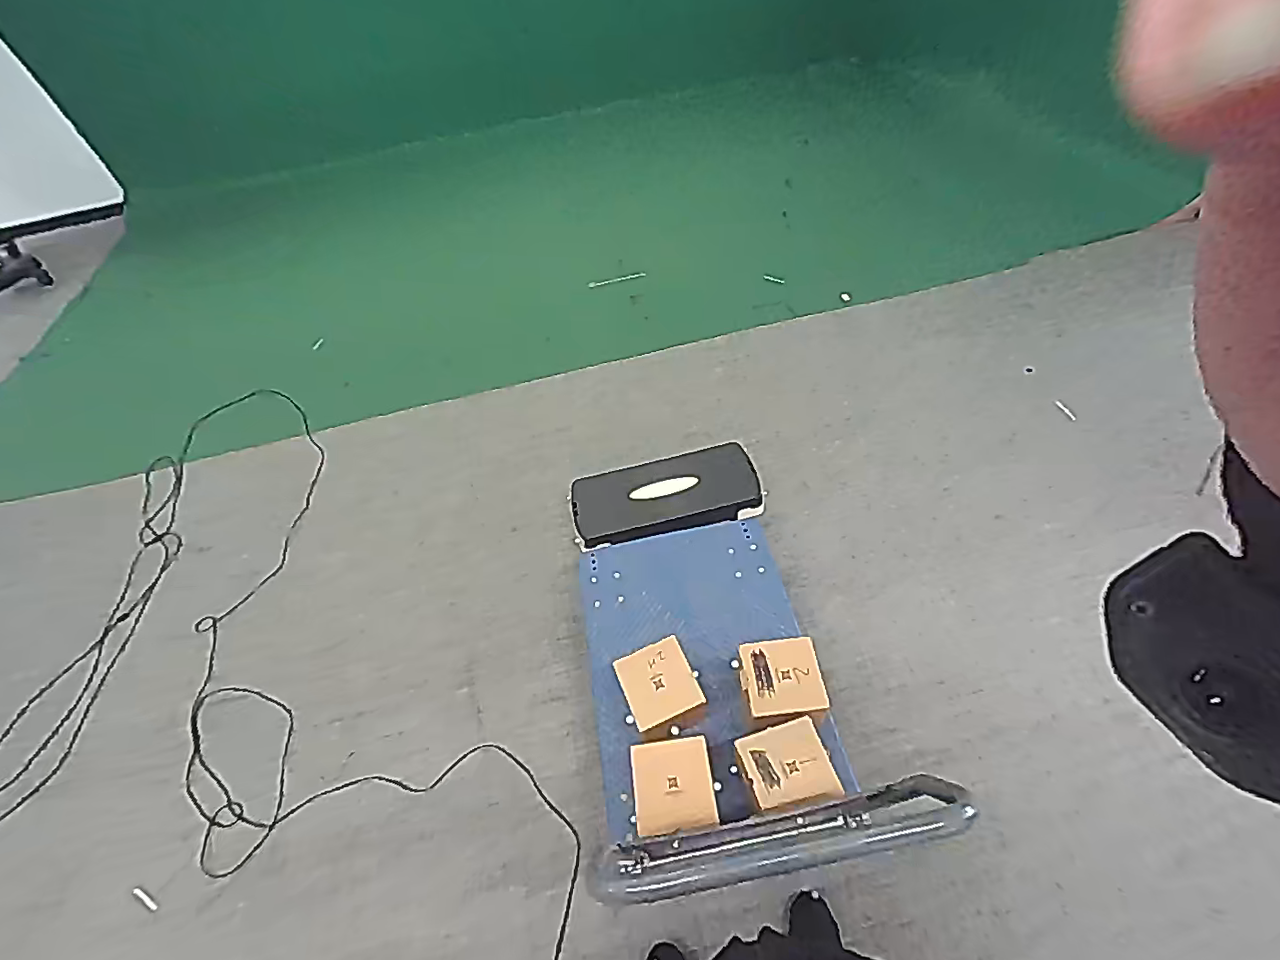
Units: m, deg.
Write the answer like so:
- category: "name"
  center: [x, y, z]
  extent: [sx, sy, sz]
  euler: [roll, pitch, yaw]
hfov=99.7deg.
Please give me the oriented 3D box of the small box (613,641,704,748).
- category: "small box"
  center: [0.048, 0.527, 1.311]
  extent: [0.168, 0.176, 0.179]
  euler: [-20, 52, -10]
